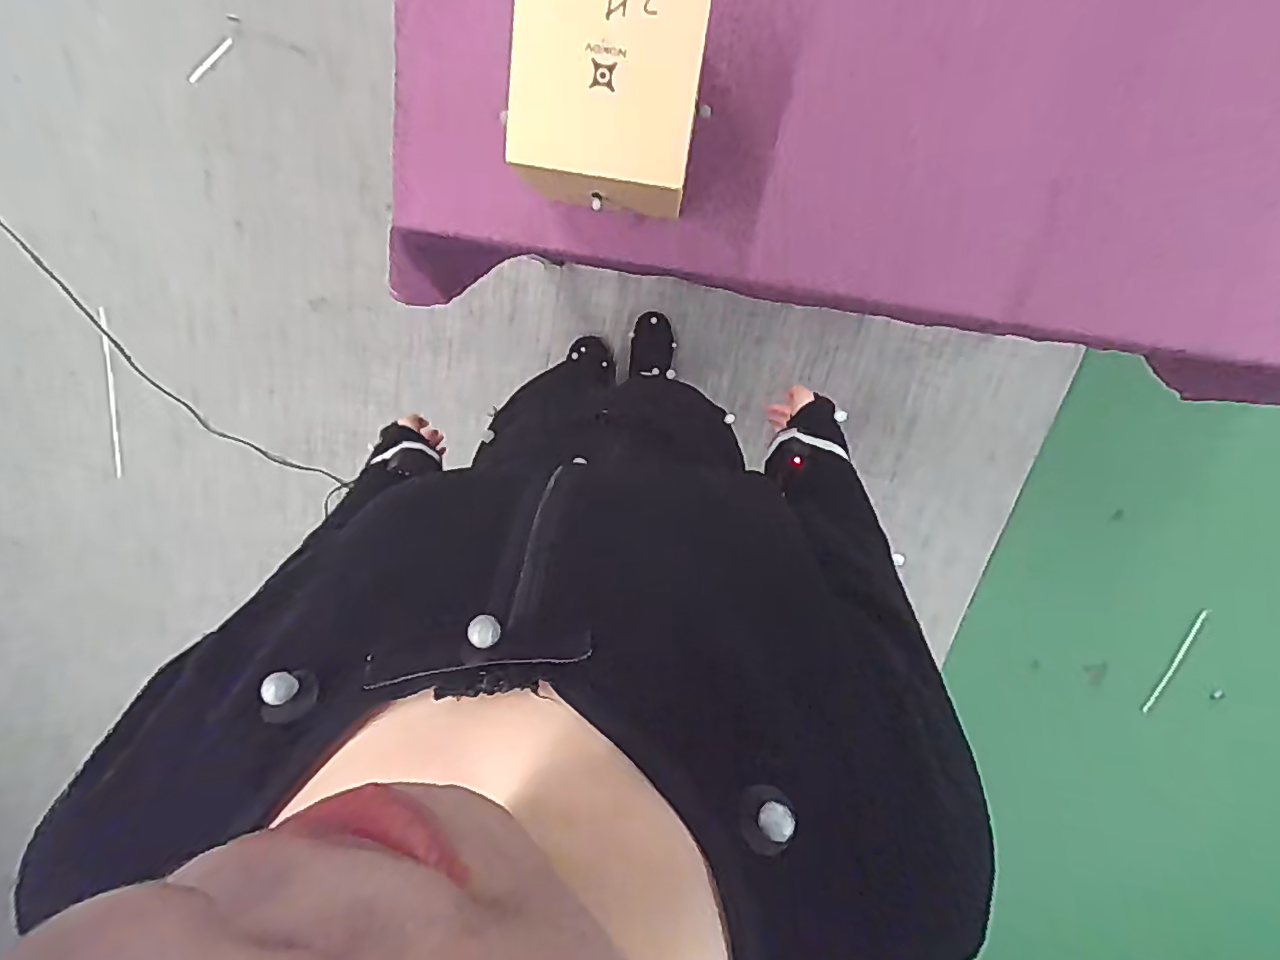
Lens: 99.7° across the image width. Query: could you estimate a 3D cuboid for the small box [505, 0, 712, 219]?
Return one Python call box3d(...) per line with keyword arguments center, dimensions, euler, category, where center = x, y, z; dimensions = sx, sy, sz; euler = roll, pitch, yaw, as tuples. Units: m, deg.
box3d(center=(-0.027, -0.380, 0.548), dimensions=(0.168, 0.176, 0.179), euler=(9, 107, -1), category="small box")
